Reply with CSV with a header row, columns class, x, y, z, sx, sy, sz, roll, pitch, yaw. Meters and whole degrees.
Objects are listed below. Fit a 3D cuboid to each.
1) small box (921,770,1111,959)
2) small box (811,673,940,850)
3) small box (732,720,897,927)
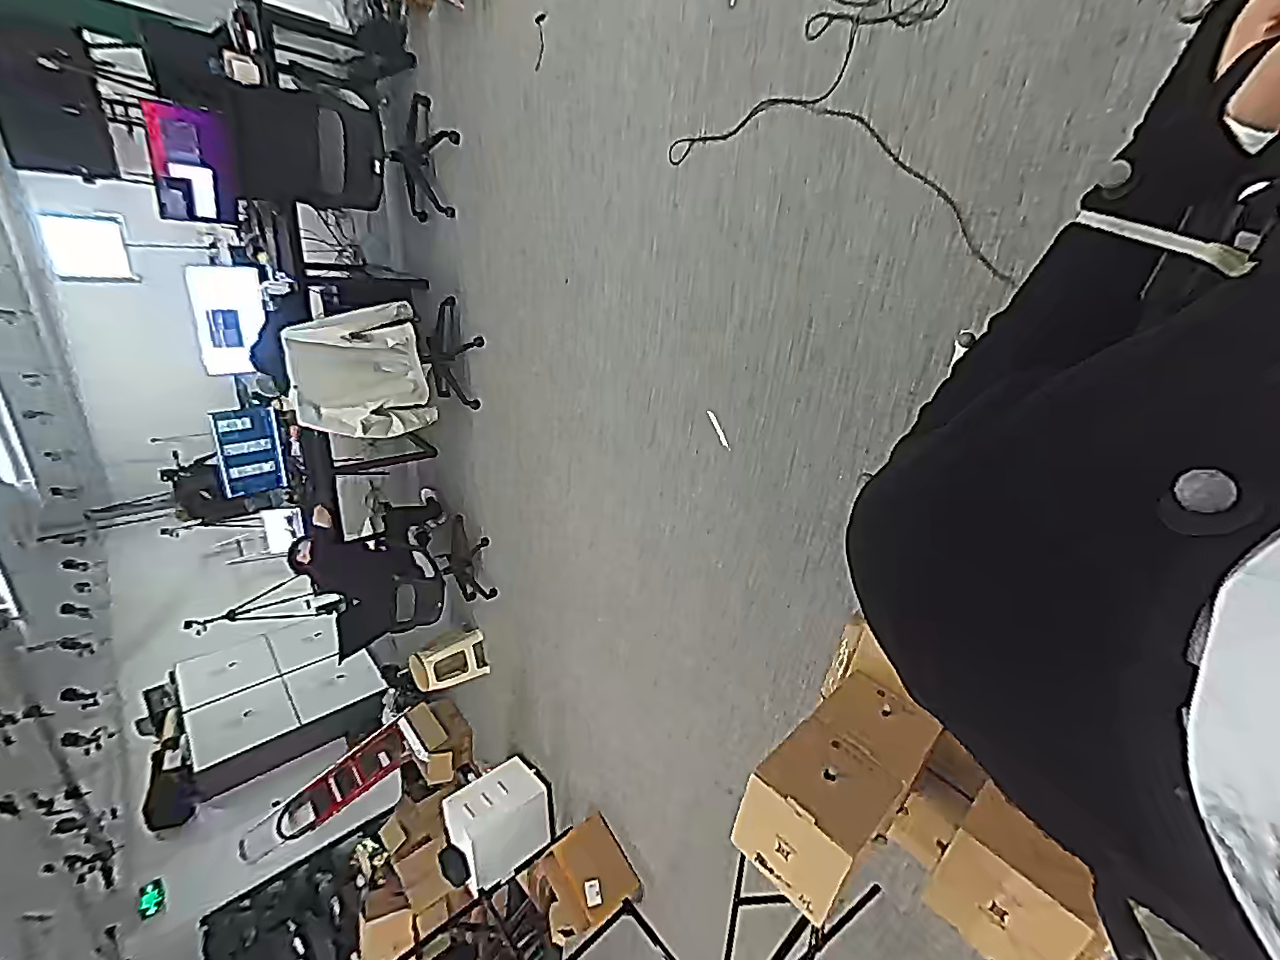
class,x,y,z,sx,sy,sz,roll,pitch,yaw
small box,0.554,0.582,0.798,0.168,0.176,0.179,29,121,40
small box,0.394,0.480,0.945,0.168,0.176,0.179,28,121,38
small box,0.272,0.517,0.840,0.168,0.176,0.179,30,122,38
